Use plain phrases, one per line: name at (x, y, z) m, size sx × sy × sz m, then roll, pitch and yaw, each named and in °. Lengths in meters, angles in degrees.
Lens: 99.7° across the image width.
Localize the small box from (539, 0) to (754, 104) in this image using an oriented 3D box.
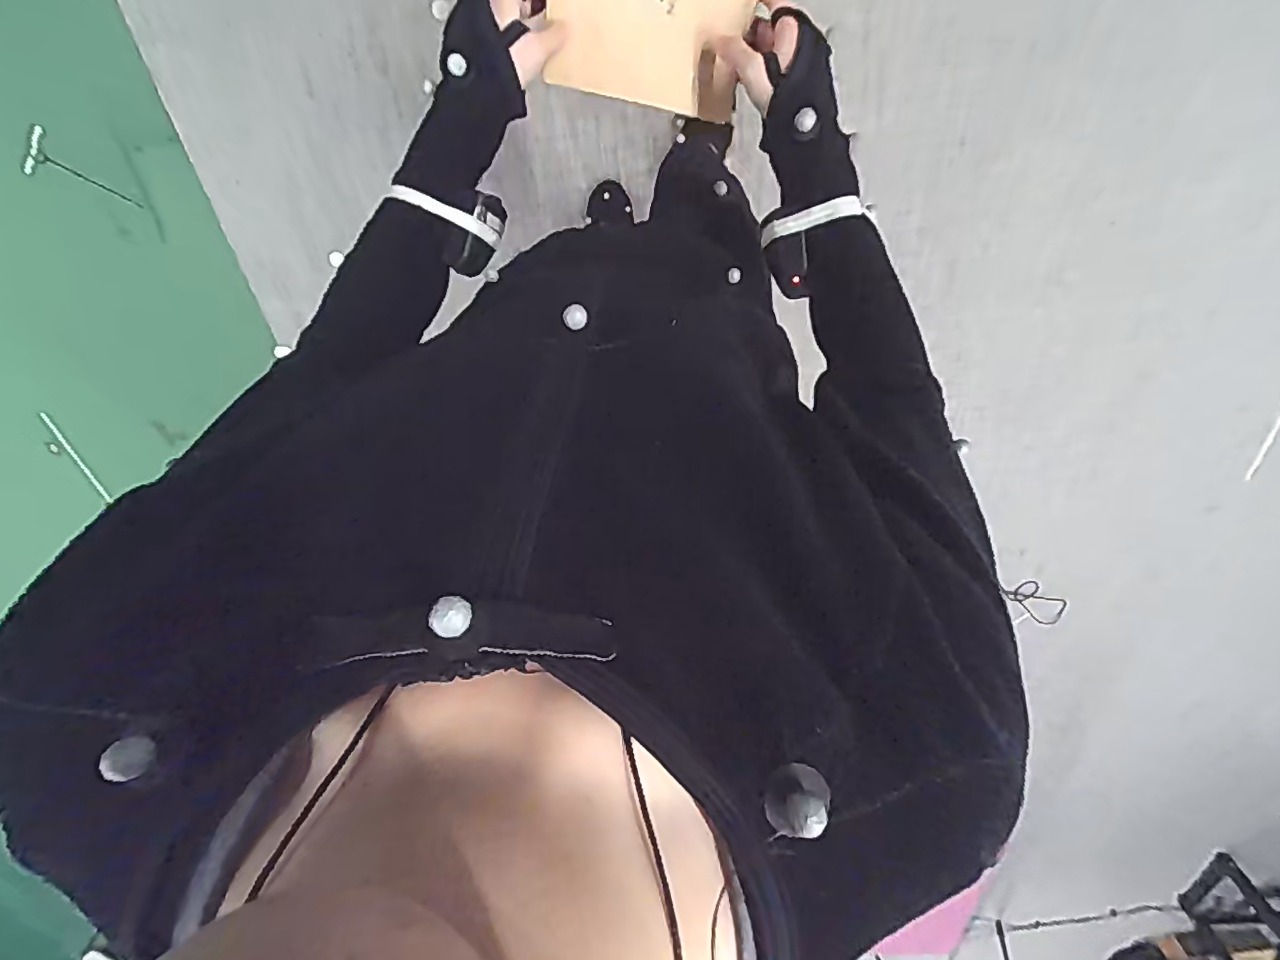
small box at (0.002, -0.469, 0.495) m, size 0.179 × 0.176 × 0.168 m, roll 2°, pitch 131°, yaw -15°
